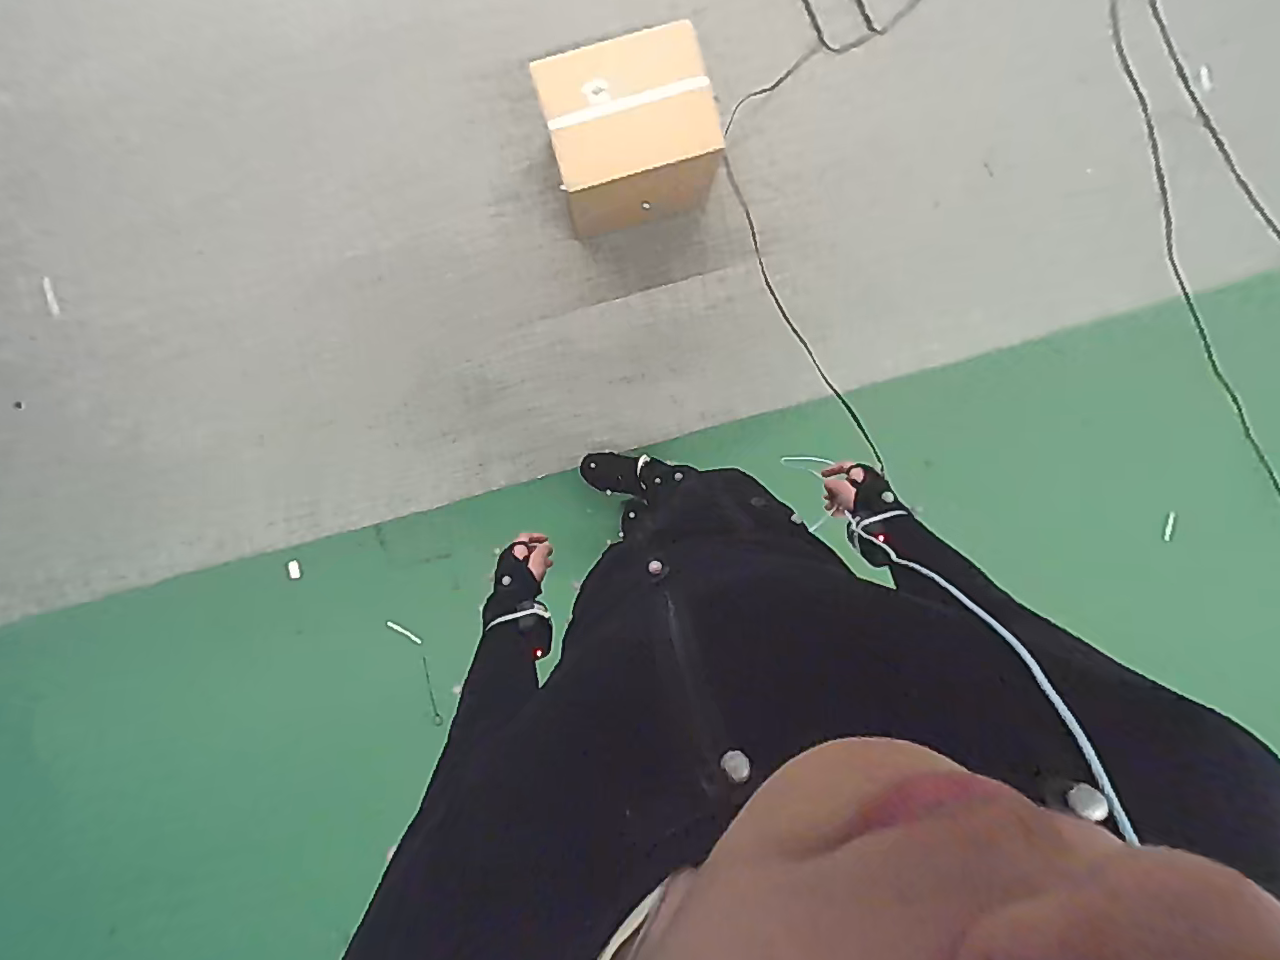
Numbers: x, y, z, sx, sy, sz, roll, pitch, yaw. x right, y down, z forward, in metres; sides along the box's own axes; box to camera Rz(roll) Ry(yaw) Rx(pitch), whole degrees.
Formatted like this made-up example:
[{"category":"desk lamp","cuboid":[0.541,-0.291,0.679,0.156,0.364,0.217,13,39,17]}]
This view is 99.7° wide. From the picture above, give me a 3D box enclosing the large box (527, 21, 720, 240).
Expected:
[{"category":"large box","cuboid":[-0.039,-0.904,1.452,0.408,0.320,0.320,-18,93,0]}]
